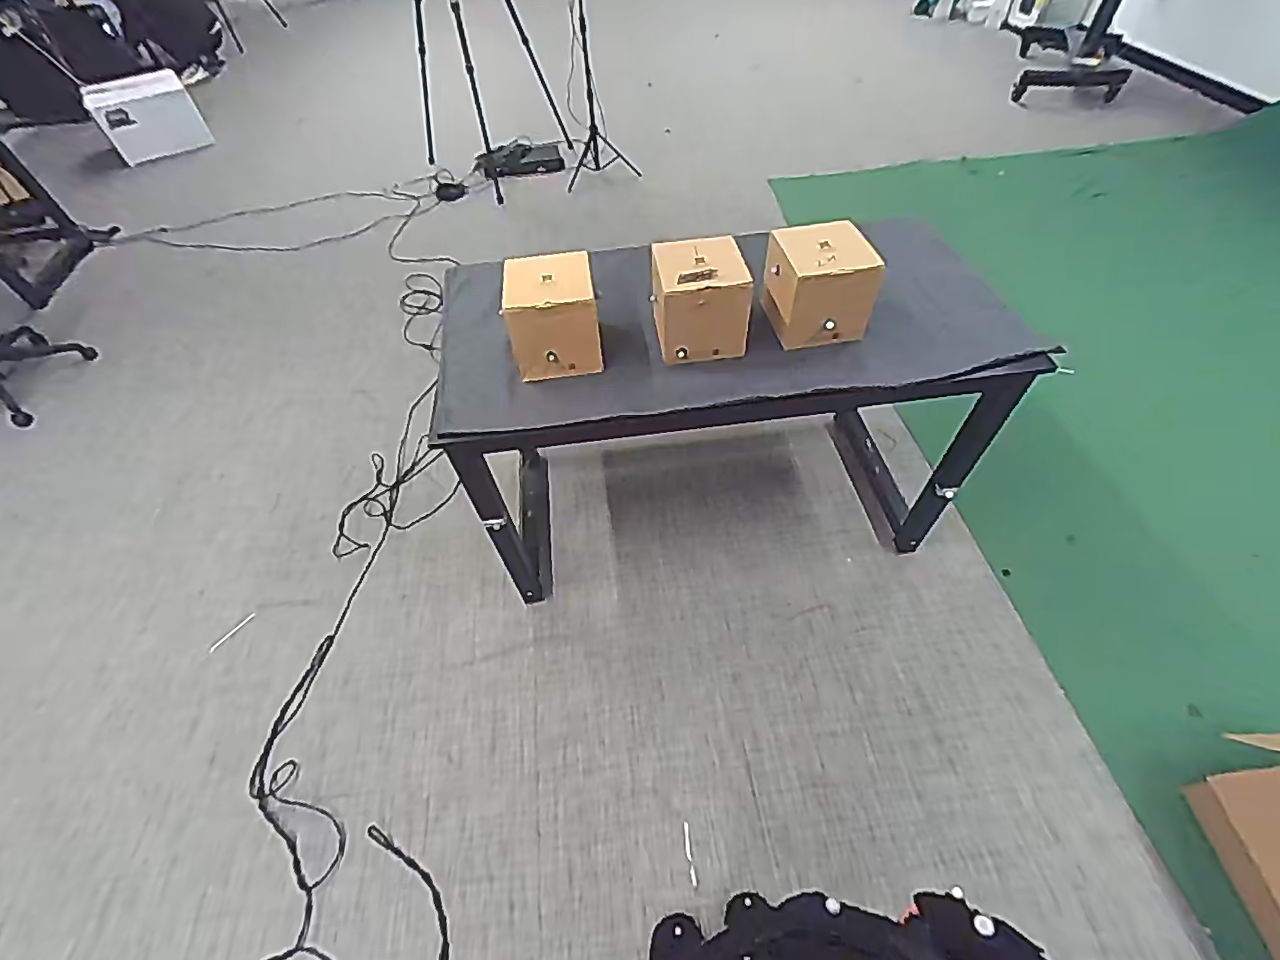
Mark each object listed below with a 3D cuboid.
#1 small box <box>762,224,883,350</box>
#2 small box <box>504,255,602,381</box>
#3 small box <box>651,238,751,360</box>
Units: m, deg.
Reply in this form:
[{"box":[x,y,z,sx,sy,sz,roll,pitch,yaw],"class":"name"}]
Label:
[{"box":[0.356,-0.391,1.098,0.168,0.176,0.179,-9,52,-3],"class":"small box"},{"box":[-0.169,-0.320,1.075,0.168,0.176,0.179,-8,52,-4],"class":"small box"},{"box":[0.117,-0.355,1.085,0.168,0.176,0.179,-7,52,-2],"class":"small box"}]
